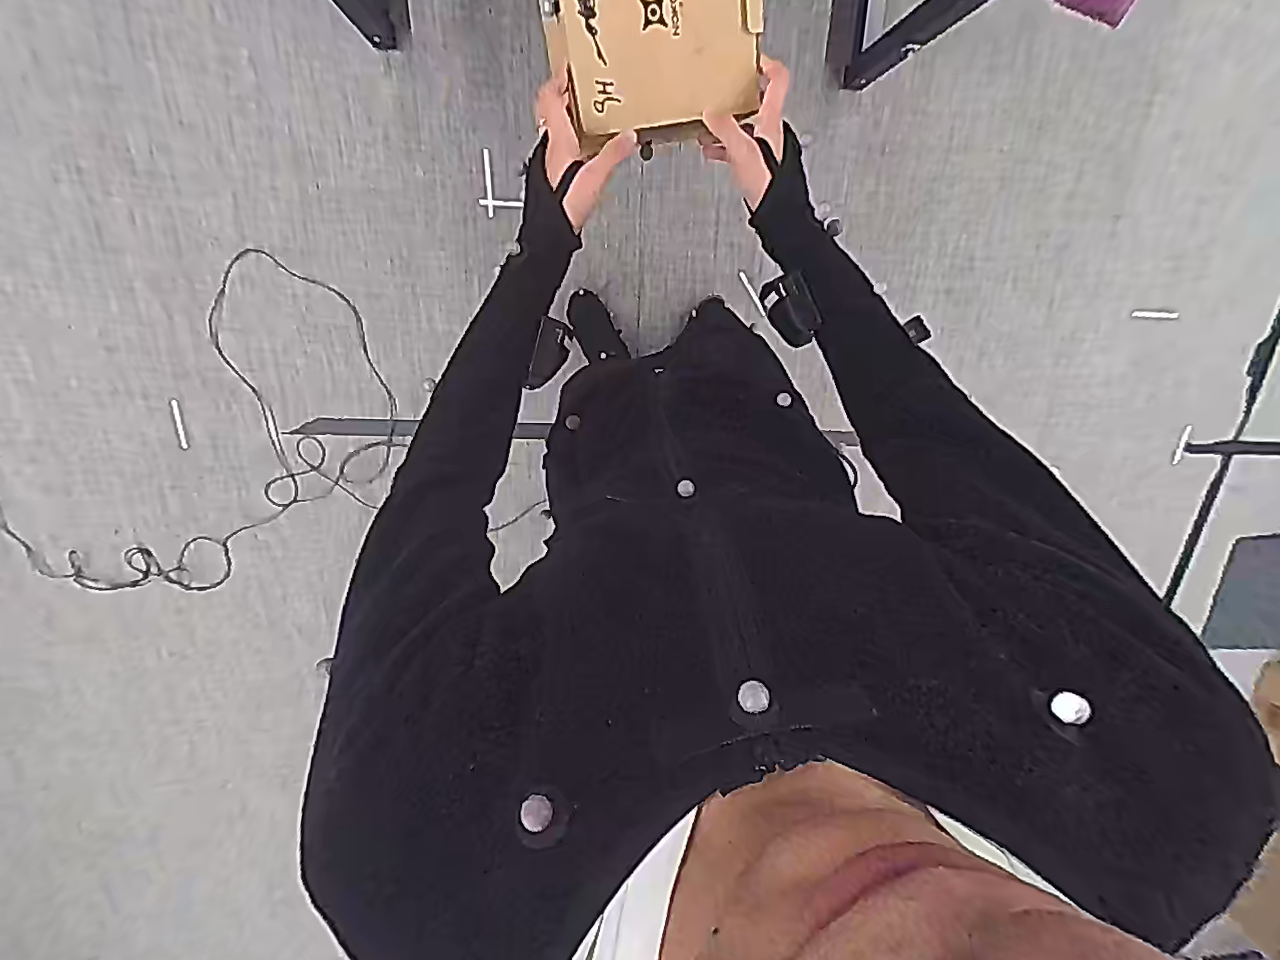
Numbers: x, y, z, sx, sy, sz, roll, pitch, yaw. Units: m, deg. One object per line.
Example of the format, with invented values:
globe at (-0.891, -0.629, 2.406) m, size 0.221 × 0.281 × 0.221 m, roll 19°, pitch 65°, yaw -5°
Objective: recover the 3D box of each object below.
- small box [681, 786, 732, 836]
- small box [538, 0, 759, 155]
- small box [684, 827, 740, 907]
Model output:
small box at (0.257, 1.340, 2.119) m, size 0.168 × 0.176 × 0.179 m, roll -4°, pitch 110°, yaw -5°
small box at (0.003, -0.435, 0.537) m, size 0.179 × 0.176 × 0.168 m, roll -12°, pitch 116°, yaw -7°
small box at (0.261, 1.400, 1.966) m, size 0.179 × 0.176 × 0.168 m, roll -5°, pitch 111°, yaw -5°
